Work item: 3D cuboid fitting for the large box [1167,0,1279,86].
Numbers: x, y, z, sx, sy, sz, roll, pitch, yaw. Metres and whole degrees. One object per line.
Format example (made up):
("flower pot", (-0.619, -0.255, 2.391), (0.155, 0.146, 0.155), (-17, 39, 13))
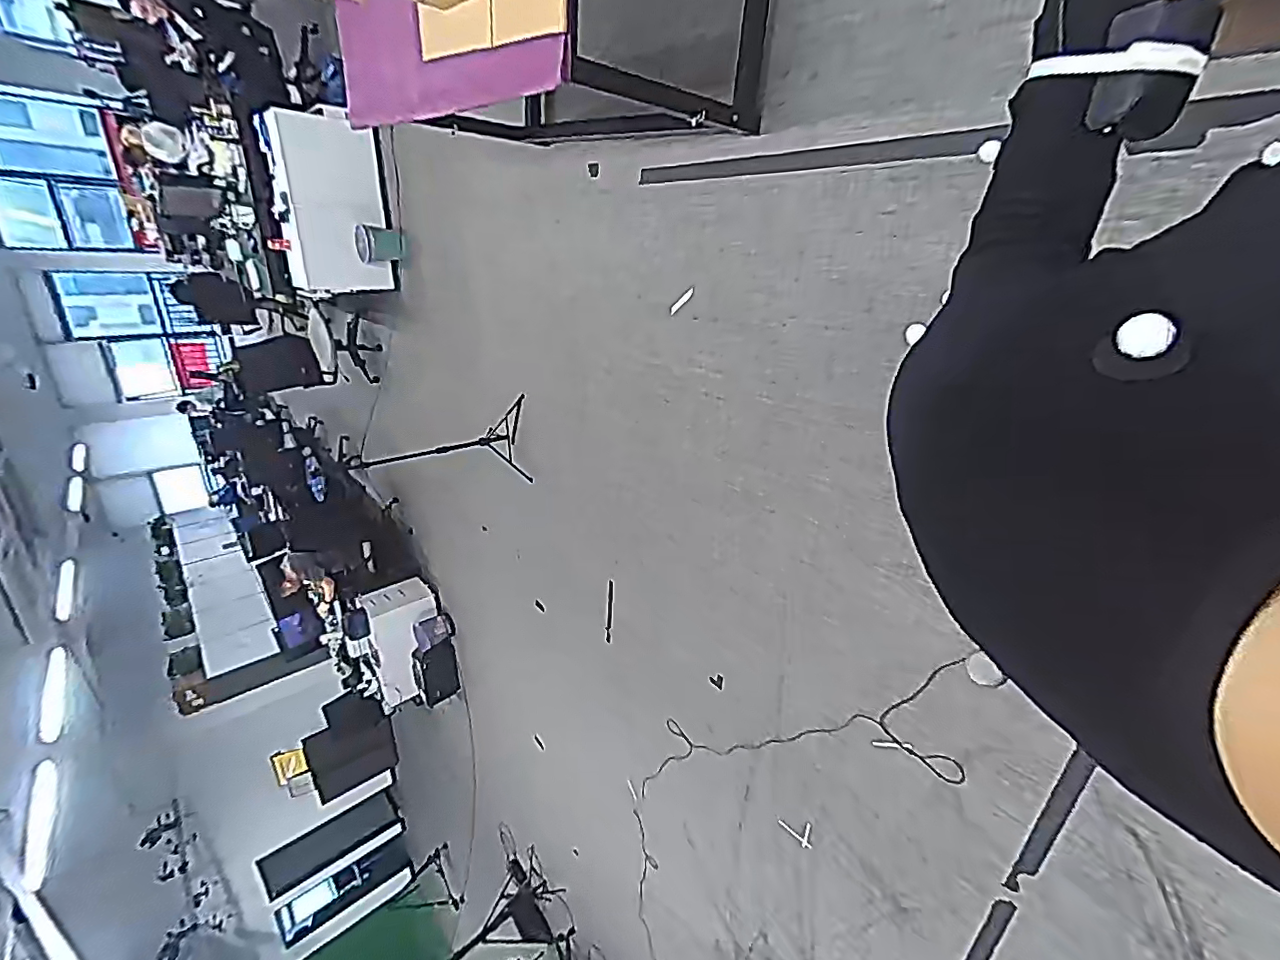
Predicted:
("large box", (0.555, -0.409, 0.236), (0.408, 0.320, 0.320), (21, 126, 38))
